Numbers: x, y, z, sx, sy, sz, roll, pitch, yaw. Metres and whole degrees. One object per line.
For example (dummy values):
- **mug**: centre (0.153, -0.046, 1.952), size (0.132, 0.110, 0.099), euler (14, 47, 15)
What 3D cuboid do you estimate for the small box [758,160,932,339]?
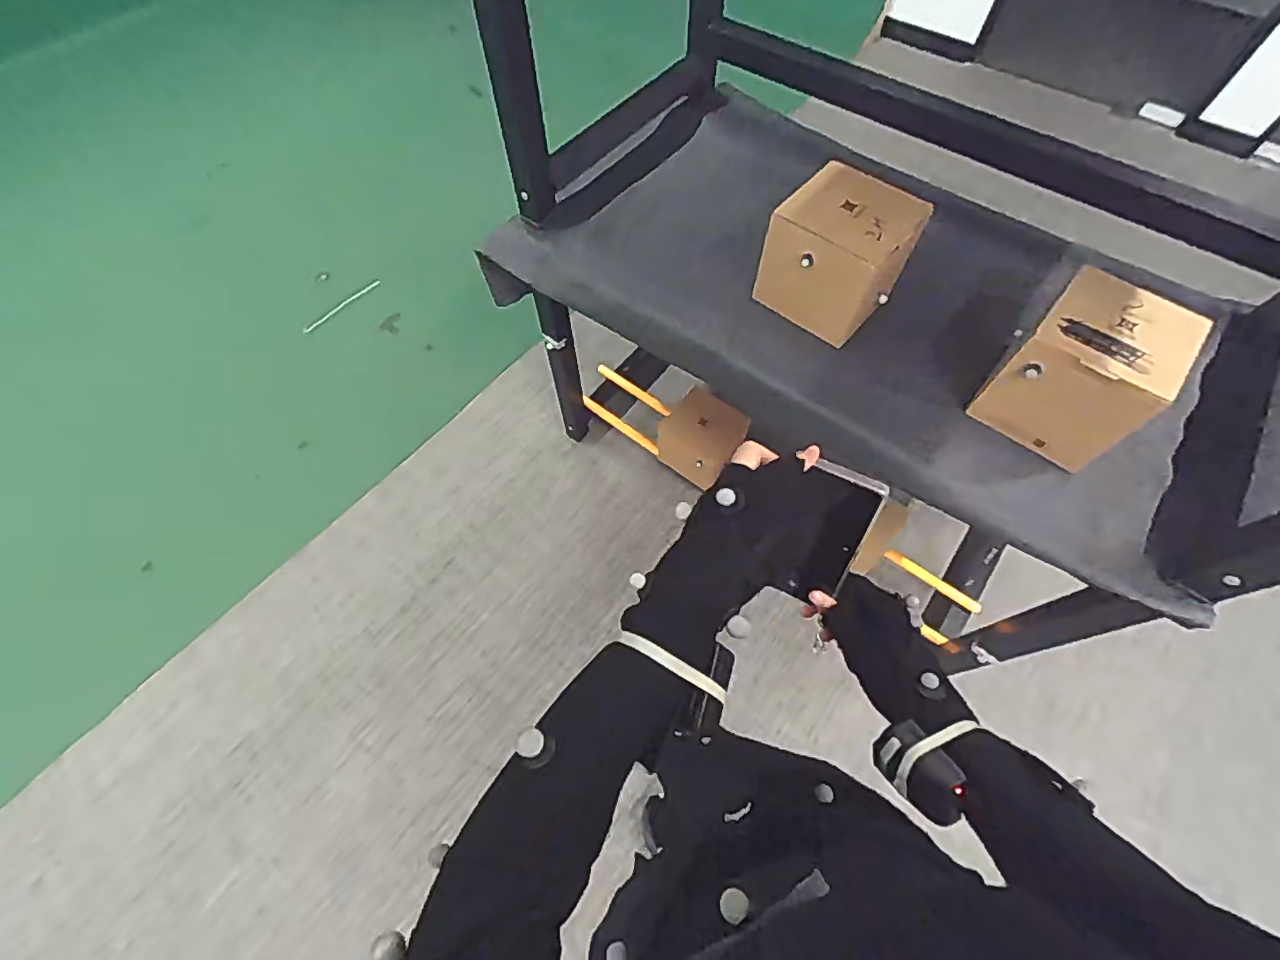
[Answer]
- **small box**: centre (0.310, -0.359, 0.857), size (0.179, 0.176, 0.168), euler (38, 69, 18)

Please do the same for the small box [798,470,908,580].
- **small box**: centre (0.506, 0.116, 1.314), size (0.168, 0.176, 0.179), euler (38, 69, 17)
